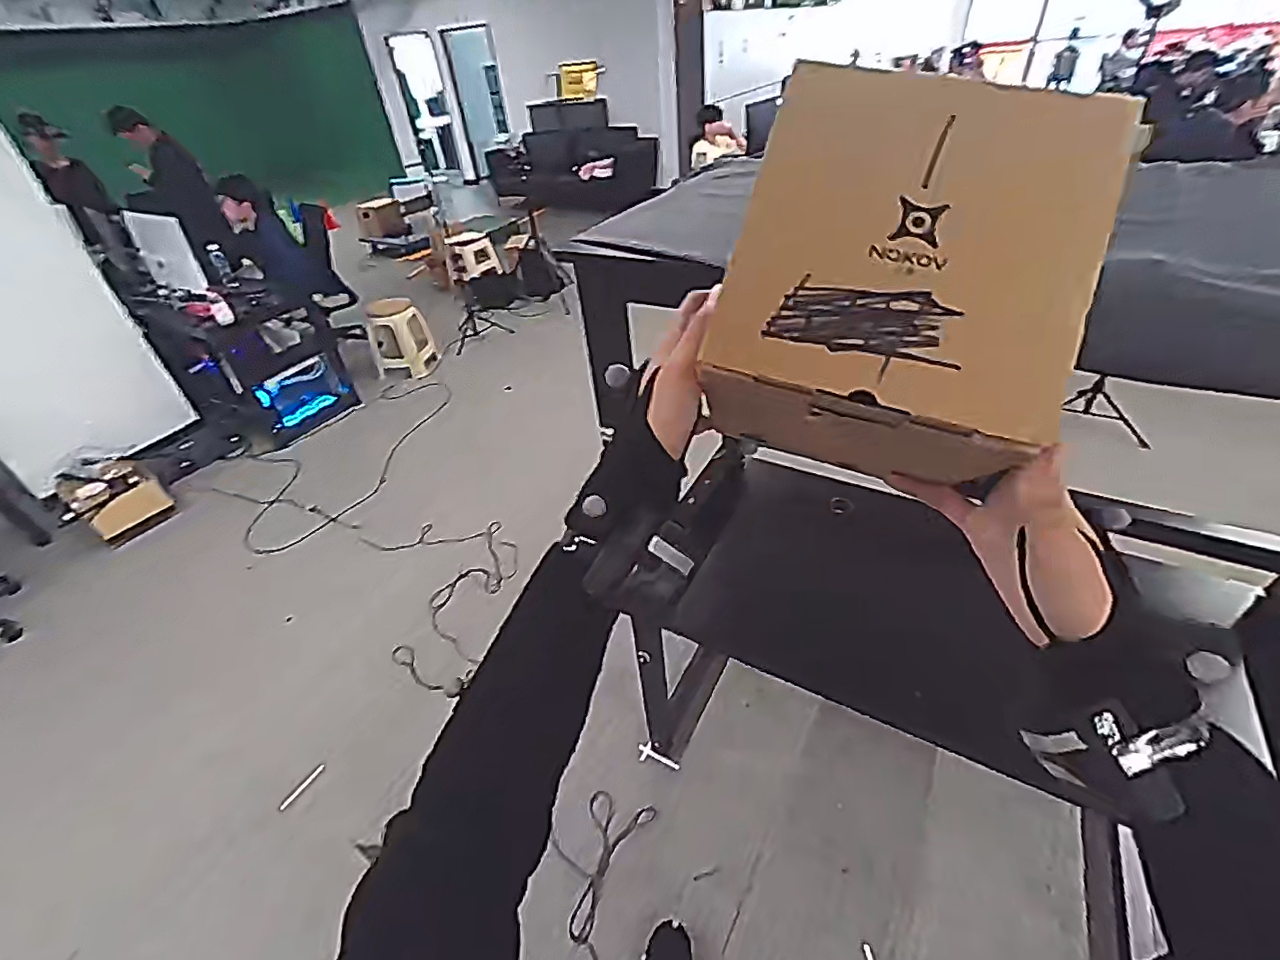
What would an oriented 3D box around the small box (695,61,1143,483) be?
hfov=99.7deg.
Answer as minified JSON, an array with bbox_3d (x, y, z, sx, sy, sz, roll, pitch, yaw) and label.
[{"bbox_3d":[0.145,-0.106,0.339,0.168,0.176,0.179,17,86,12],"label":"small box"}]
